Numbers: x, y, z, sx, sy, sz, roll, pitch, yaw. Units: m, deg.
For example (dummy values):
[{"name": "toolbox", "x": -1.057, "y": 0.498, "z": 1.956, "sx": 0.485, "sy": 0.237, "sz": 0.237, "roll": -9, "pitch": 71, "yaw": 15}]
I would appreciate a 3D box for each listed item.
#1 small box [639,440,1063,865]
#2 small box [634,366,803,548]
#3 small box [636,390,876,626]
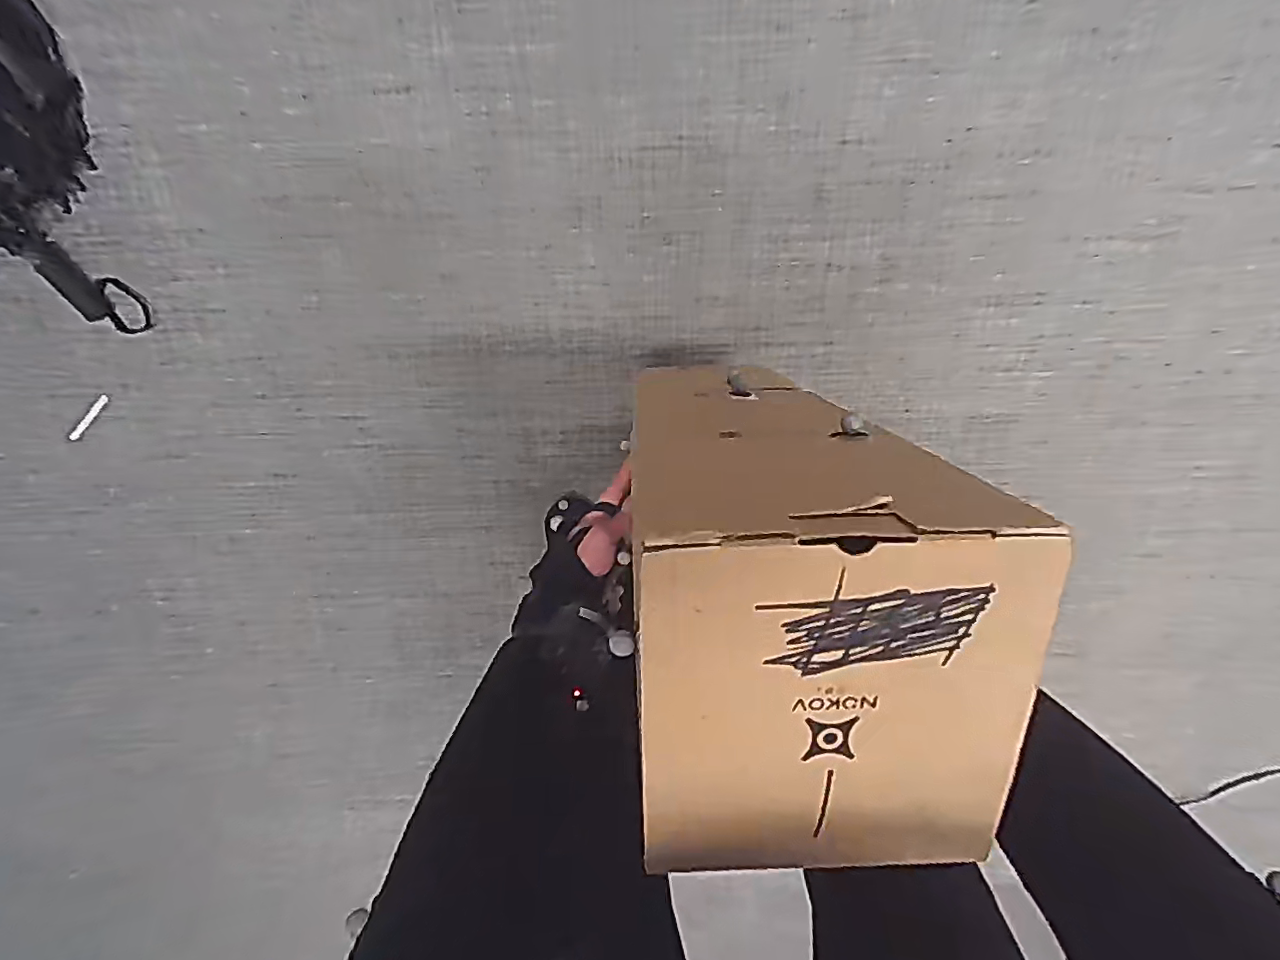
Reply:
[{"name": "small box", "x": 0.085, "y": 0.078, "z": 0.314, "sx": 0.168, "sy": 0.176, "sz": 0.179, "roll": -2, "pitch": 111, "yaw": -1}, {"name": "small box", "x": 0.079, "y": -0.030, "z": 0.624, "sx": 0.168, "sy": 0.176, "sz": 0.179, "roll": -1, "pitch": 110, "yaw": 1}, {"name": "small box", "x": 0.081, "y": 0.024, "z": 0.470, "sx": 0.168, "sy": 0.176, "sz": 0.179, "roll": -2, "pitch": 108, "yaw": -1}]
